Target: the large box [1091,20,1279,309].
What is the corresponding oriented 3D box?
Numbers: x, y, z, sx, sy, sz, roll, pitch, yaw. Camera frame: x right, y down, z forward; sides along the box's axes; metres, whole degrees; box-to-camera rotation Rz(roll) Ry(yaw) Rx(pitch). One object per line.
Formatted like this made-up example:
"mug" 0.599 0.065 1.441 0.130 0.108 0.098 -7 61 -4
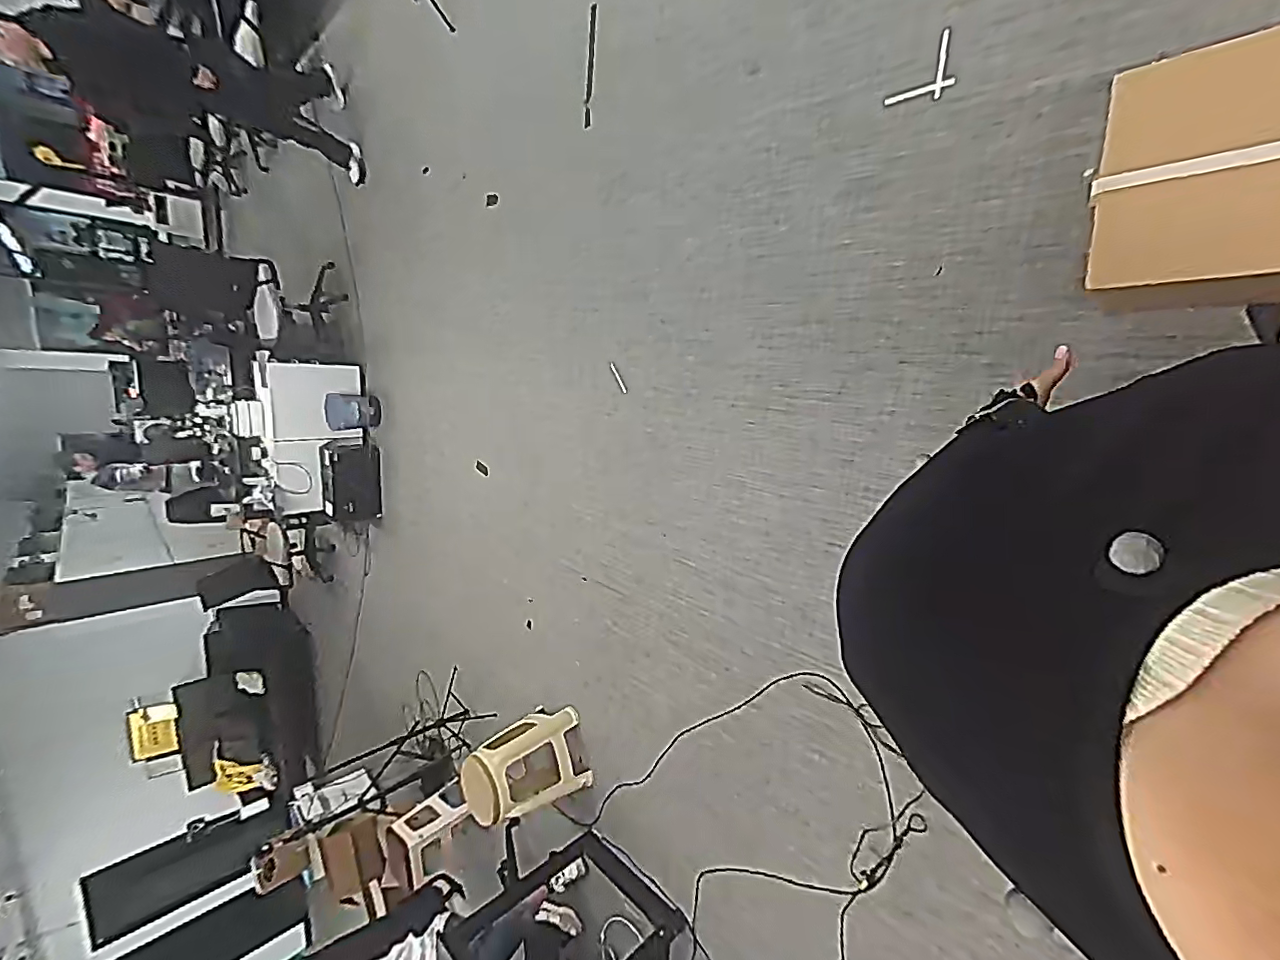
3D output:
"large box" 0.951 -0.449 0.795 0.408 0.320 0.320 10 103 43
